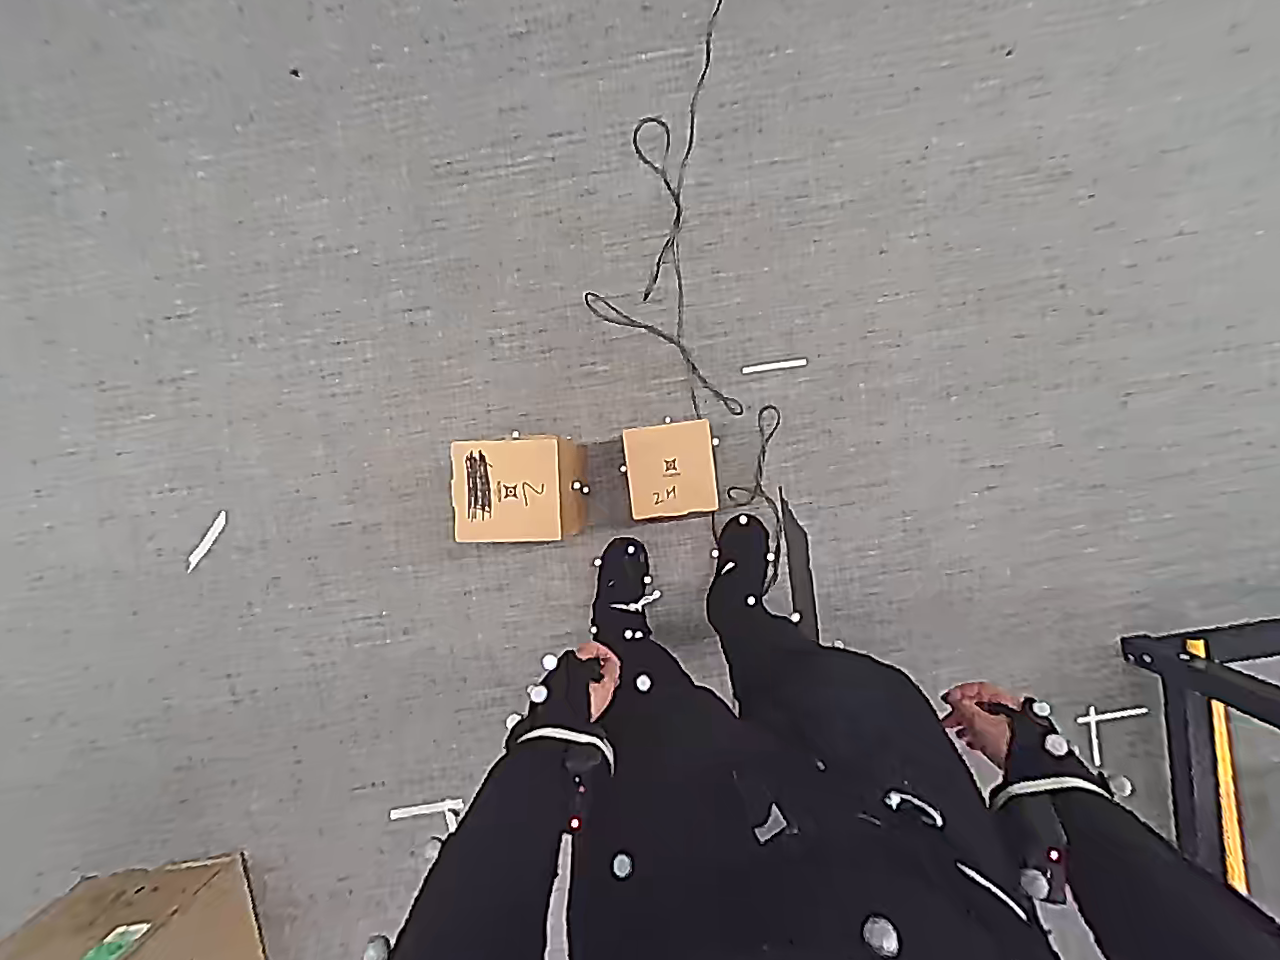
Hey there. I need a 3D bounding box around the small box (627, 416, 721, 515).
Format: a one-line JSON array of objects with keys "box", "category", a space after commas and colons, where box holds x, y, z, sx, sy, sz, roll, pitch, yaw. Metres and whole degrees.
[{"box": [0.067, -0.031, 1.094, 0.168, 0.176, 0.179, -6, 94, 4], "category": "small box"}]

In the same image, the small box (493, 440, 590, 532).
[{"box": [-0.195, 0.008, 1.106, 0.168, 0.176, 0.179, -1, 95, 3], "category": "small box"}]
